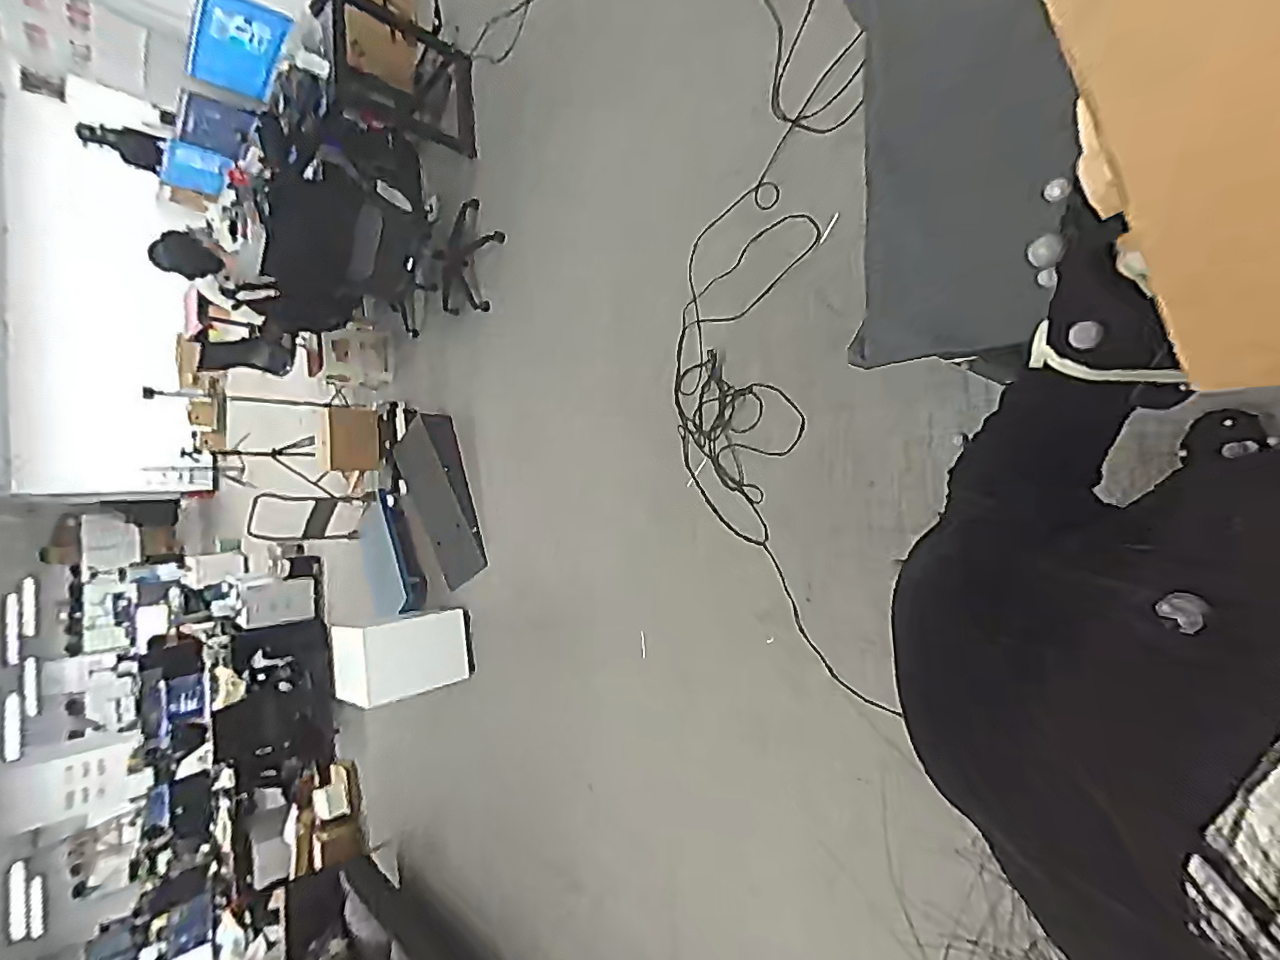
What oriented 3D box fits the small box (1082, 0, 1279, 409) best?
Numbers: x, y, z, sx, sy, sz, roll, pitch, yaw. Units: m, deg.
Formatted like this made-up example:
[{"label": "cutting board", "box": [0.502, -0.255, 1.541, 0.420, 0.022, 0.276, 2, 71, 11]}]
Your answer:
[{"label": "small box", "box": [0.239, -0.147, 0.123, 0.176, 0.179, 0.168, -55, 23, -22]}]
